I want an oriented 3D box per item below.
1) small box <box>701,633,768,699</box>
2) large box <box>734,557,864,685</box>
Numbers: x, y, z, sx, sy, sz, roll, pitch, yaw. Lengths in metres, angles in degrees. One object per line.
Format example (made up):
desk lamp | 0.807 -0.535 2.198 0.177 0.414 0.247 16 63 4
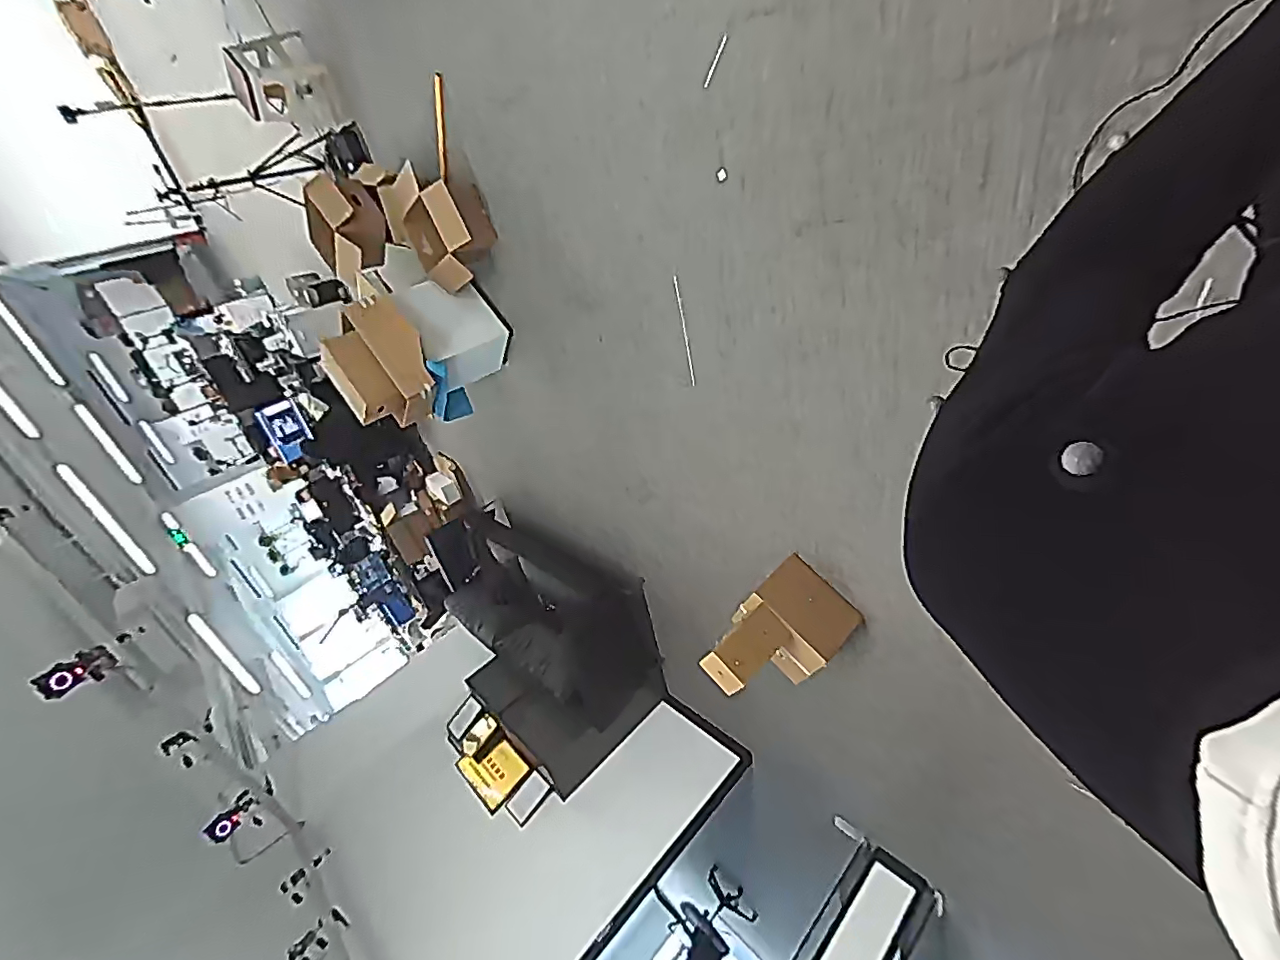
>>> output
small box | 0.384 0.747 2.194 0.179 0.176 0.168 45 146 15
large box | 0.706 0.630 2.434 0.408 0.320 0.320 43 147 18
